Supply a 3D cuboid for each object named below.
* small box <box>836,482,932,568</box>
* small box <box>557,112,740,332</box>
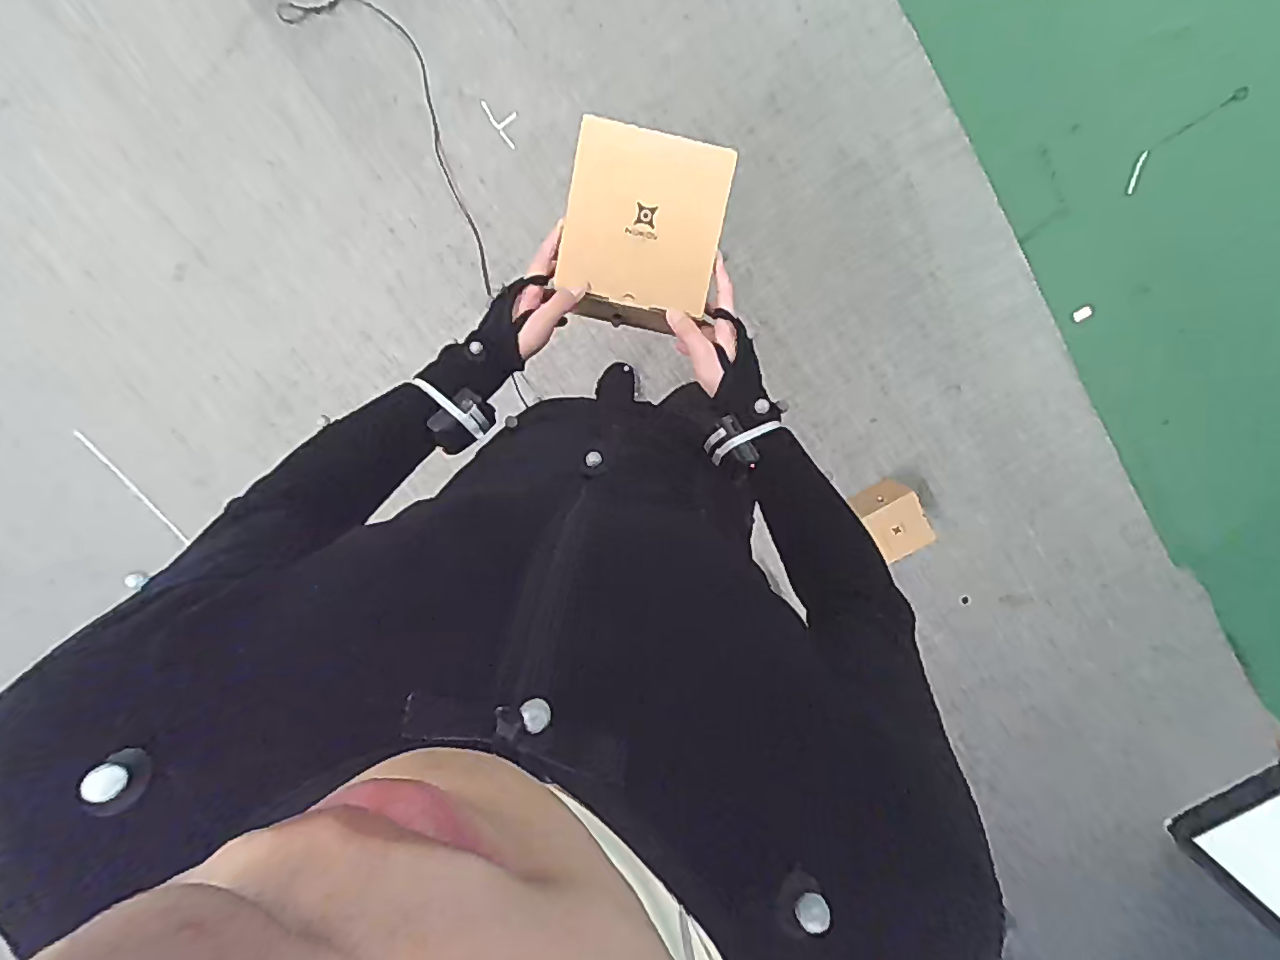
[{"bbox_3d":[0.717,0.126,1.604,0.179,0.176,0.168,-29,102,6],"label":"small box"},{"bbox_3d":[0.003,-0.286,0.644,0.168,0.176,0.179,11,100,-4],"label":"small box"}]
